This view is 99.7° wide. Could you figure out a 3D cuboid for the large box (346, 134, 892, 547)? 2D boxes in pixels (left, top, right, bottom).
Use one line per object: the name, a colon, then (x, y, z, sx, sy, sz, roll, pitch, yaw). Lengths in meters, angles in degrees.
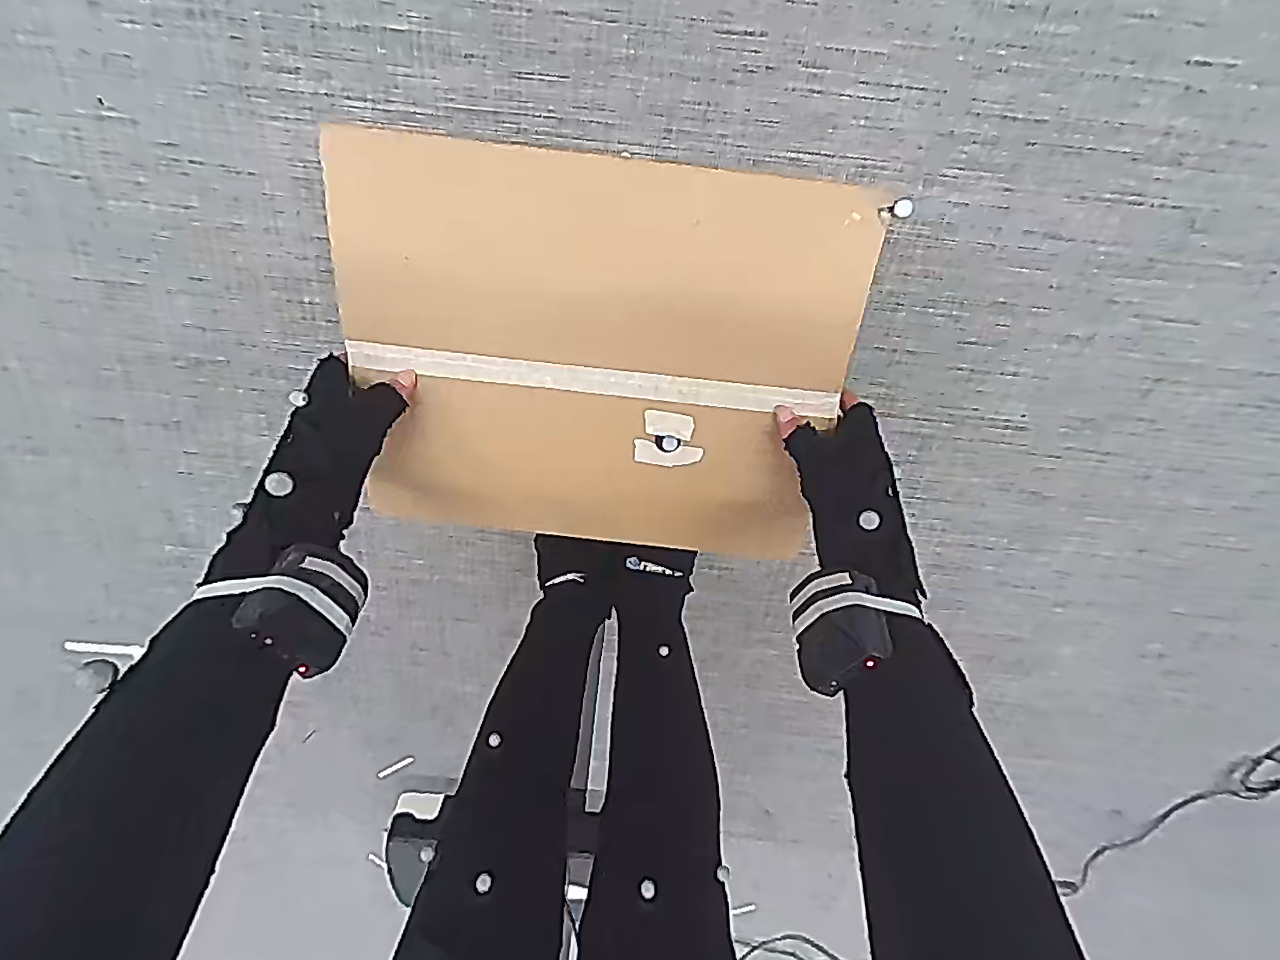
large box: (-0.025, -0.153, 0.584, 0.408, 0.320, 0.320, 6, 116, -1)
